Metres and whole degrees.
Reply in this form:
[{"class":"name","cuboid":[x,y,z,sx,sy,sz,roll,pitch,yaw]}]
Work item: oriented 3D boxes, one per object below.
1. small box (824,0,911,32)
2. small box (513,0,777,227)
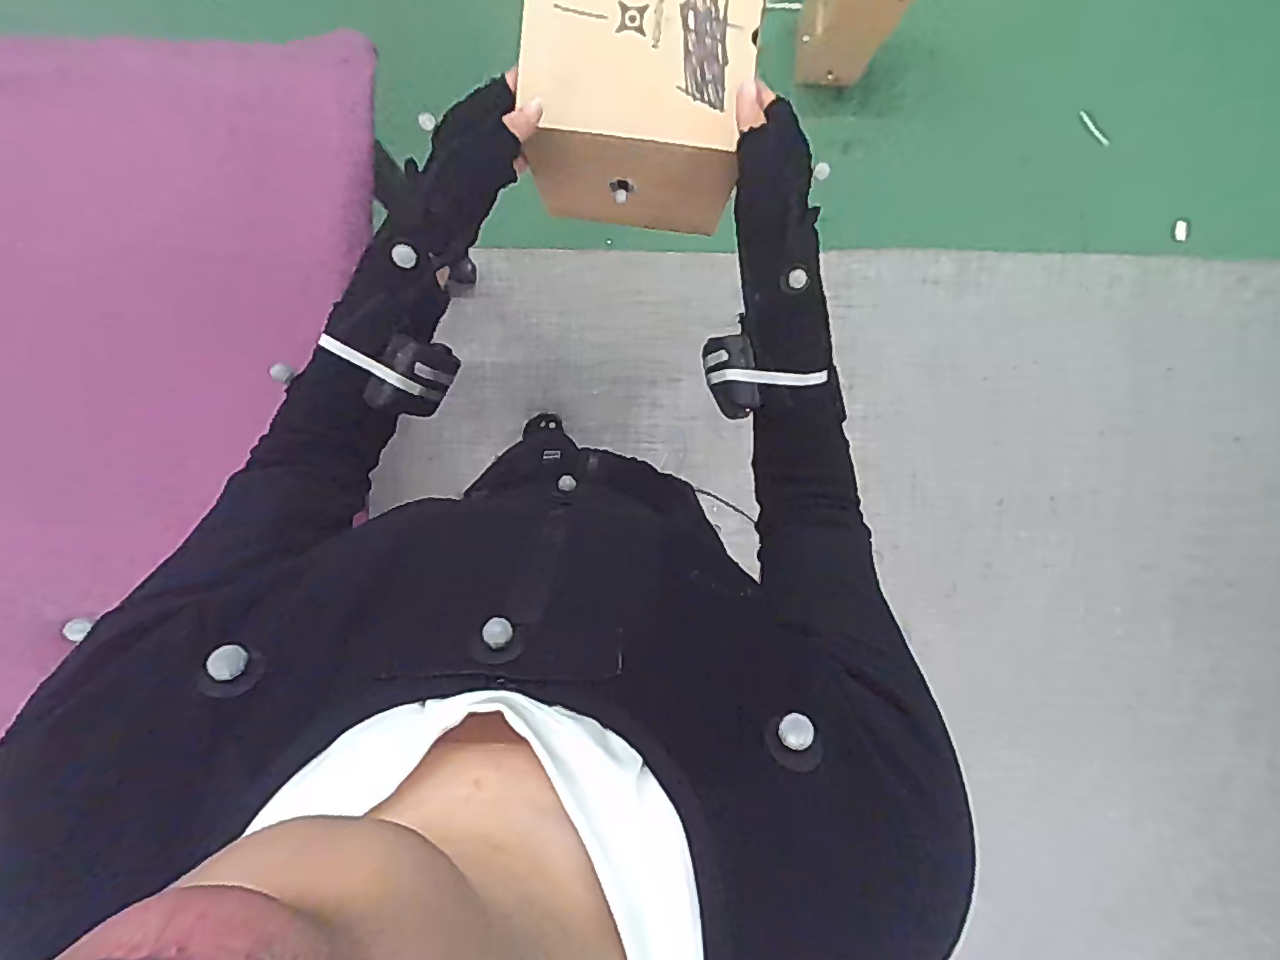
[{"class":"small box","cuboid":[0.522,-1.141,1.199,0.179,0.176,0.168,1,93,-2]},{"class":"small box","cuboid":[0.005,-0.340,0.464,0.179,0.176,0.168,10,93,-3]}]
